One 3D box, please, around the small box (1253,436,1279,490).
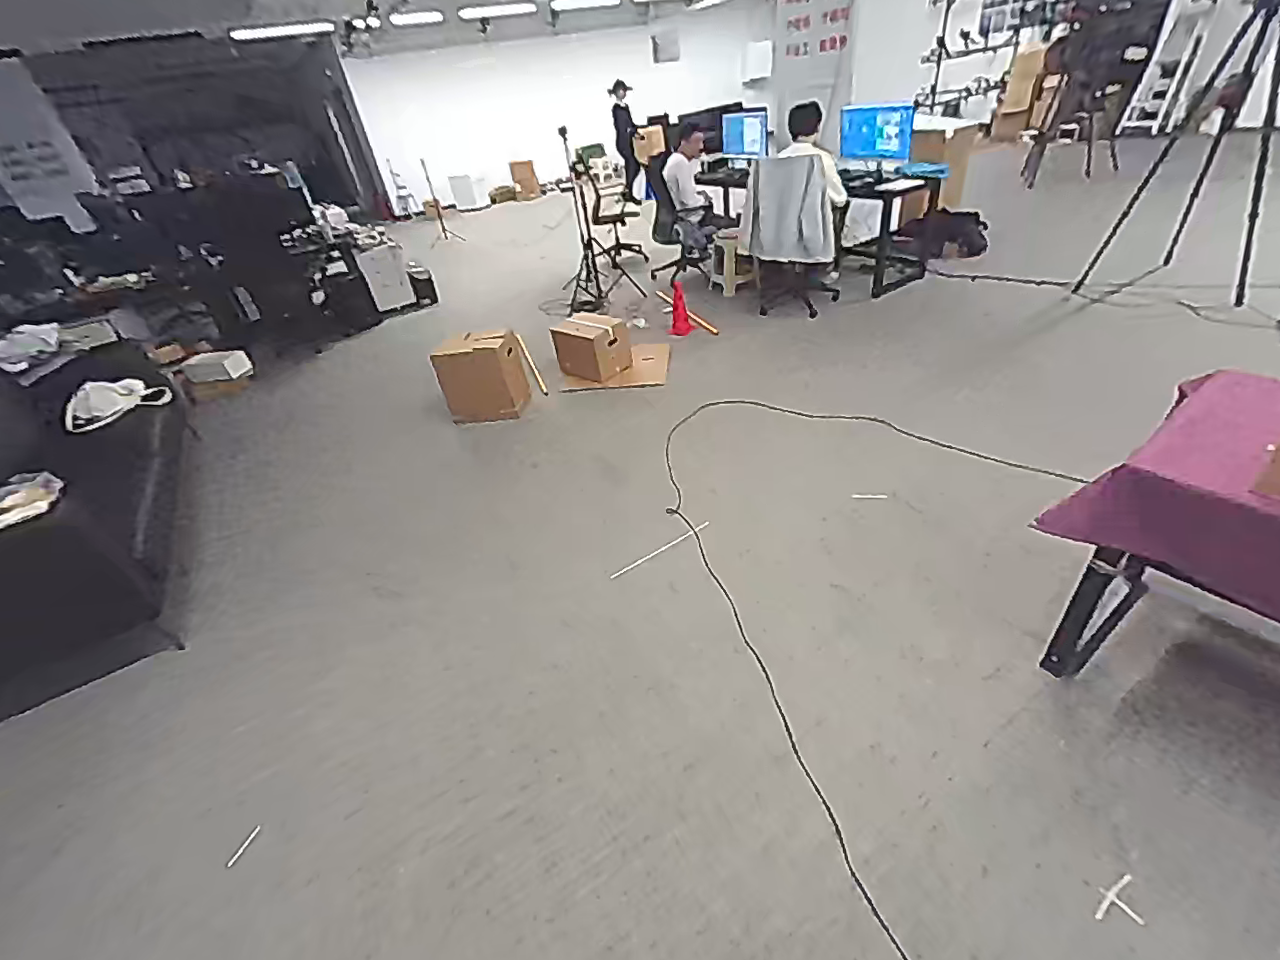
[{"bbox_3d":[1.305,-0.057,0.985,0.168,0.176,0.179,-26,39,-22],"label":"small box"}]
